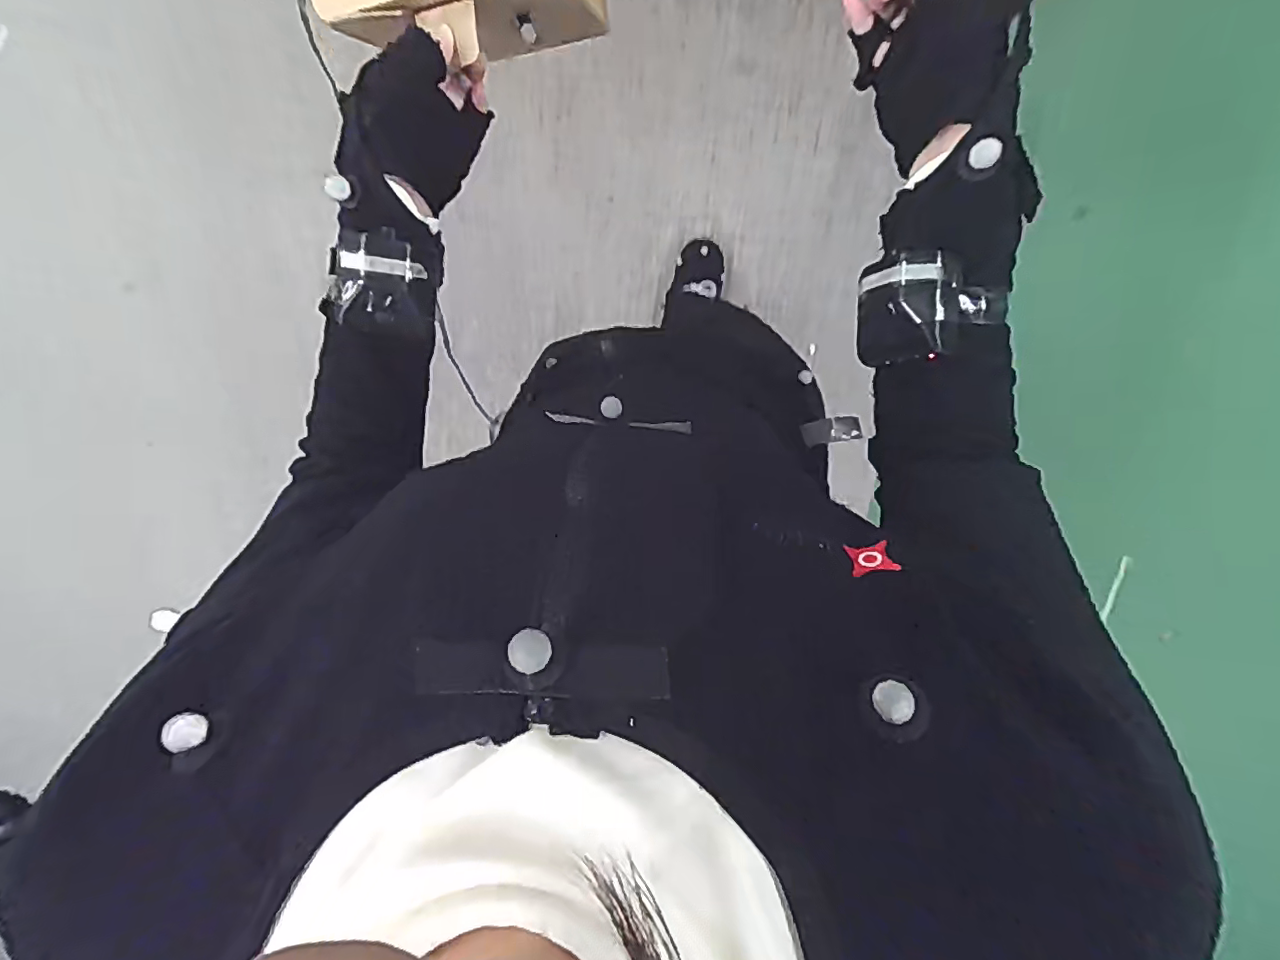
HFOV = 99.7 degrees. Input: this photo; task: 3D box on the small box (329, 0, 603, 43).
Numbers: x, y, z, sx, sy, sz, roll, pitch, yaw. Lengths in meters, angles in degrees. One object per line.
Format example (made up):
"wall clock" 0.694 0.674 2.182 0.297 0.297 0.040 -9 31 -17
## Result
"small box" -0.130 -0.435 0.373 0.168 0.176 0.179 -4 116 12
